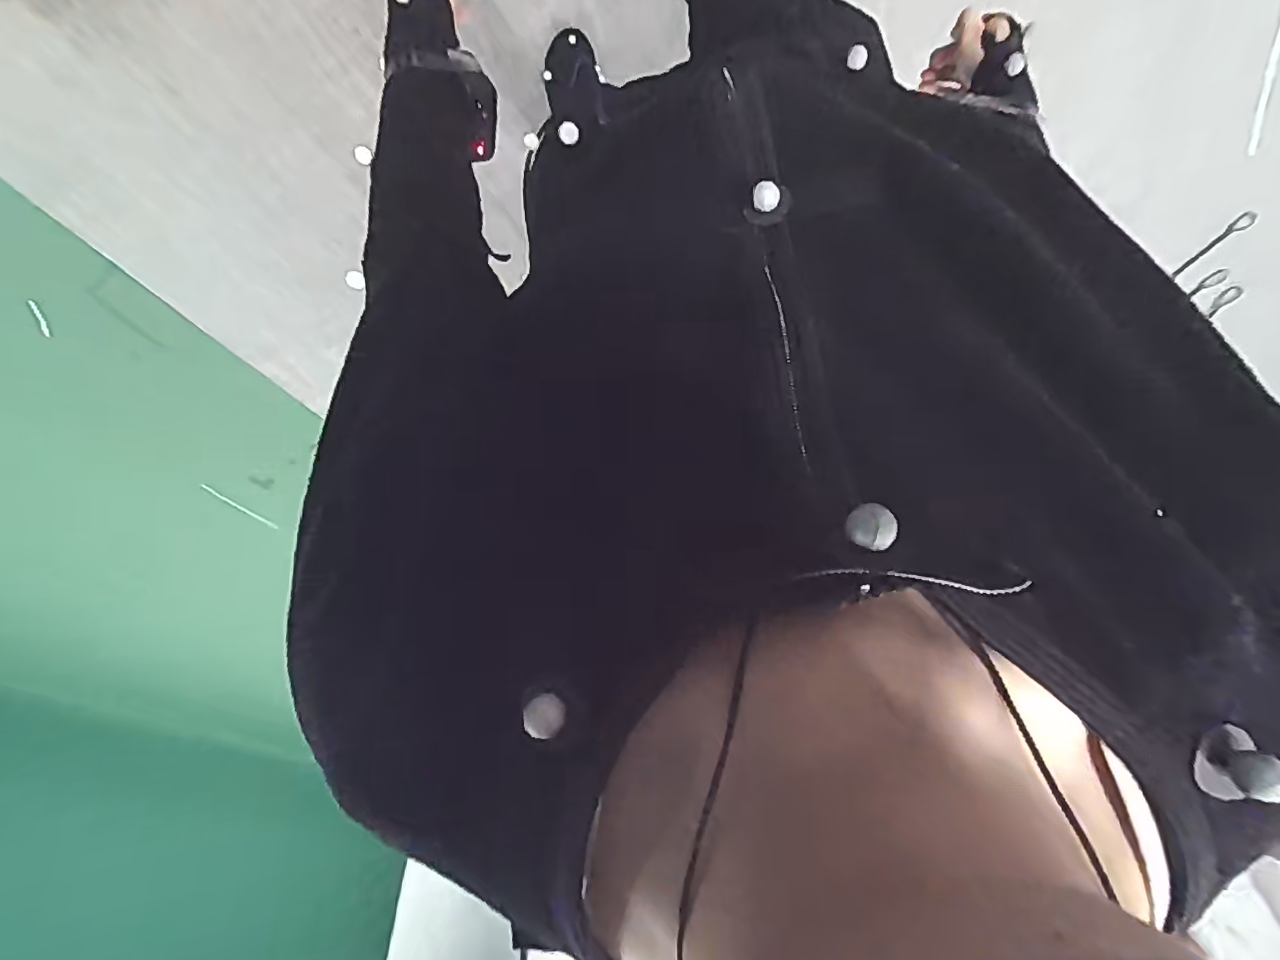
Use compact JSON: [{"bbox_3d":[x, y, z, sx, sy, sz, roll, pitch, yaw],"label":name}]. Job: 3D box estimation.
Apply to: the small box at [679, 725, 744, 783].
[{"bbox_3d":[0.252,0.988,1.929,0.168,0.176,0.179,-24,134,22],"label":"small box"}]
